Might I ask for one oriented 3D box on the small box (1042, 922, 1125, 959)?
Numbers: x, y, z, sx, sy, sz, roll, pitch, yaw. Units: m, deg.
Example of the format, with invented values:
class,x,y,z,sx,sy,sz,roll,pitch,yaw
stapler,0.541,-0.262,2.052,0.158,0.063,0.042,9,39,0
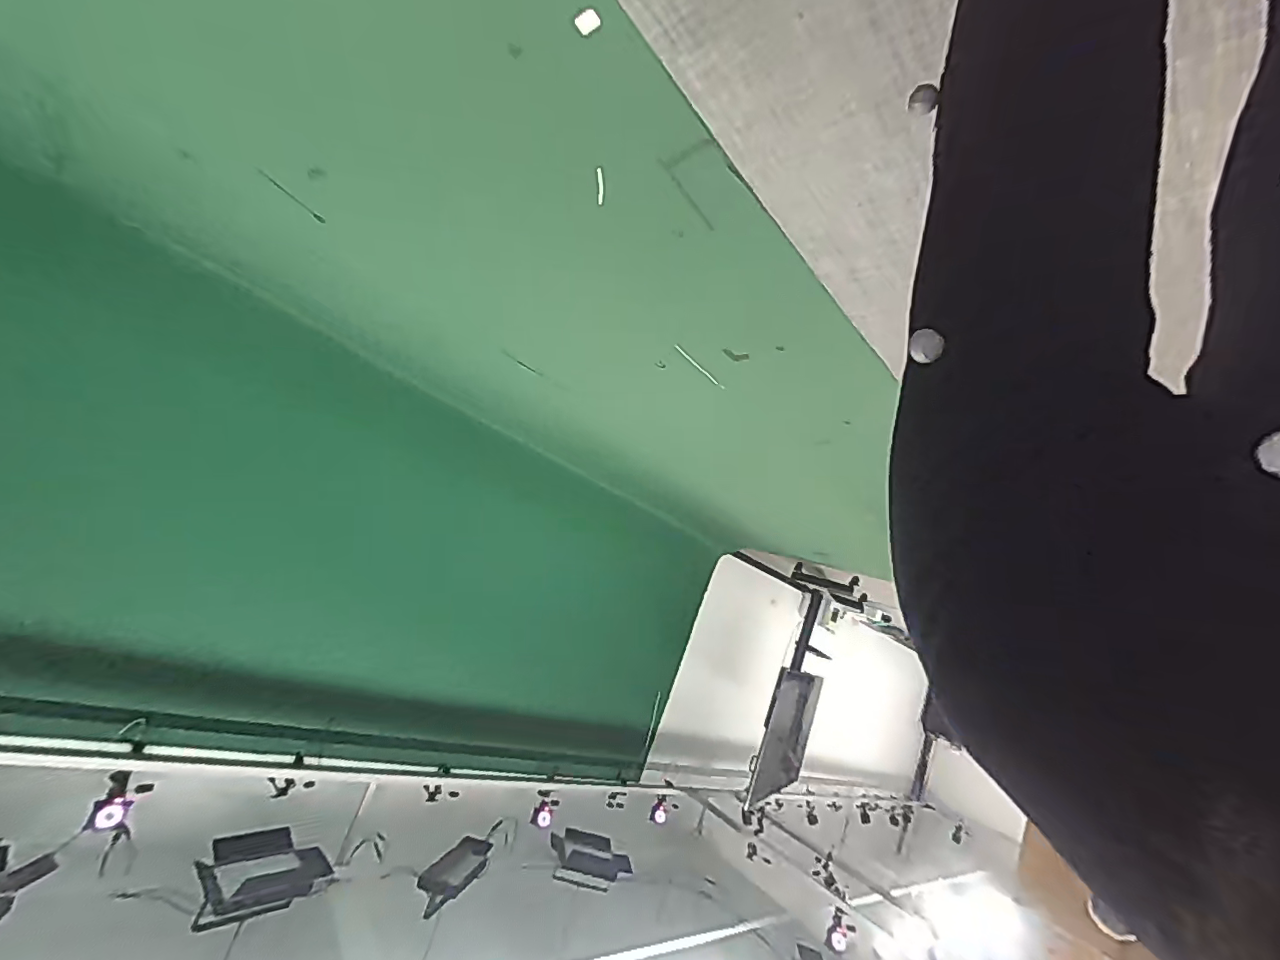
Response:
class,x,y,z,sx,sy,sz,roll,pitch,yaw
small box,1.459,1.603,1.784,0.179,0.176,0.168,31,167,-29
